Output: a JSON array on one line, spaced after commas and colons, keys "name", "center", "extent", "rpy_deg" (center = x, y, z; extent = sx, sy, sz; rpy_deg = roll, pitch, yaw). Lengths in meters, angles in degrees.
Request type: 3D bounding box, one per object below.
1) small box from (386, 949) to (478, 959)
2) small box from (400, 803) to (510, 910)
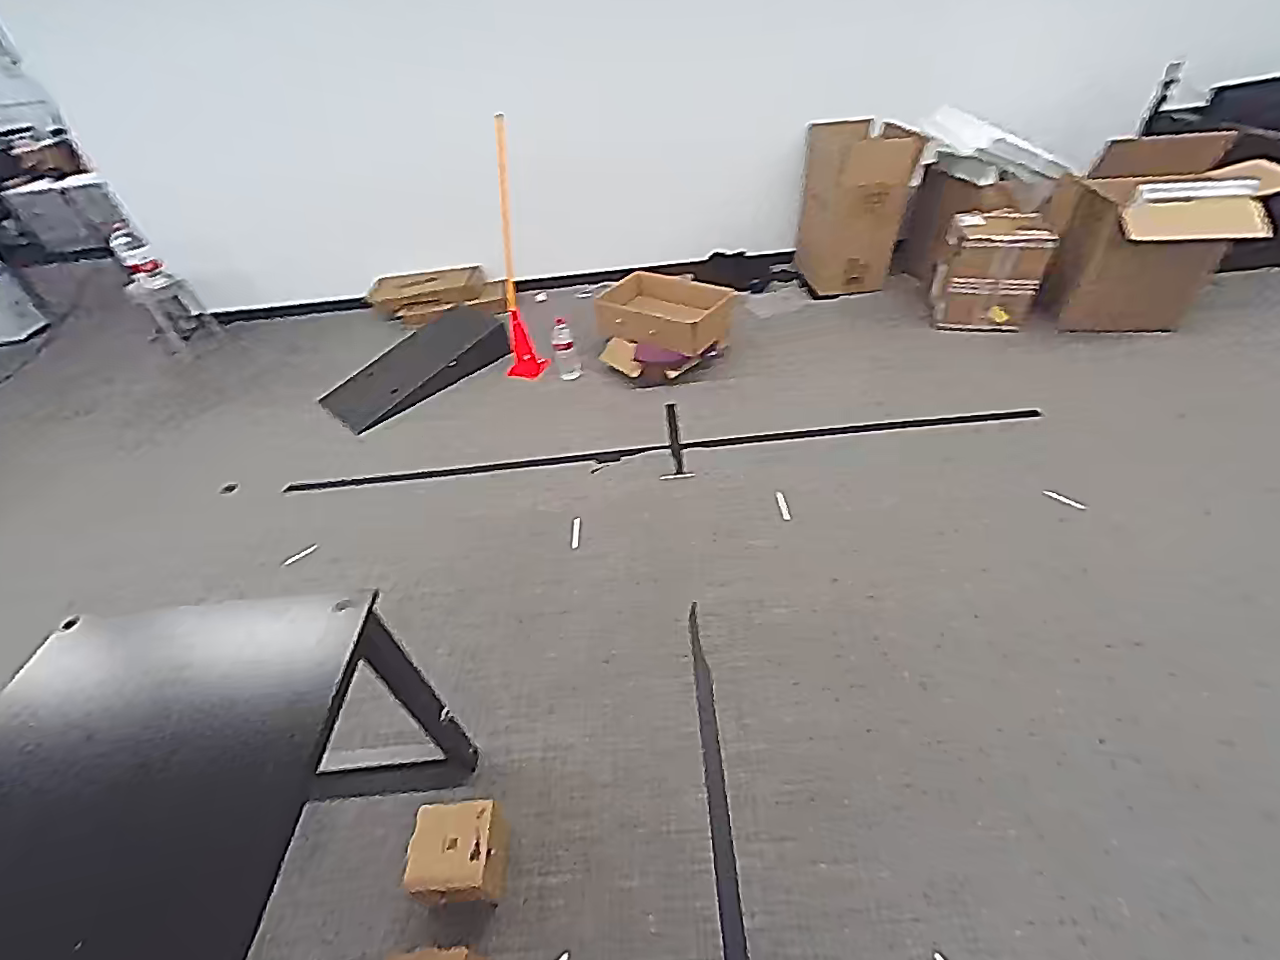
[{"name": "small box", "center": [-0.408, 1.045, 1.050], "extent": [0.168, 0.176, 0.179], "rpy_deg": [-7, 42, 2]}, {"name": "small box", "center": [-0.415, 0.868, 1.244], "extent": [0.179, 0.176, 0.168], "rpy_deg": [-7, 42, 1]}]
